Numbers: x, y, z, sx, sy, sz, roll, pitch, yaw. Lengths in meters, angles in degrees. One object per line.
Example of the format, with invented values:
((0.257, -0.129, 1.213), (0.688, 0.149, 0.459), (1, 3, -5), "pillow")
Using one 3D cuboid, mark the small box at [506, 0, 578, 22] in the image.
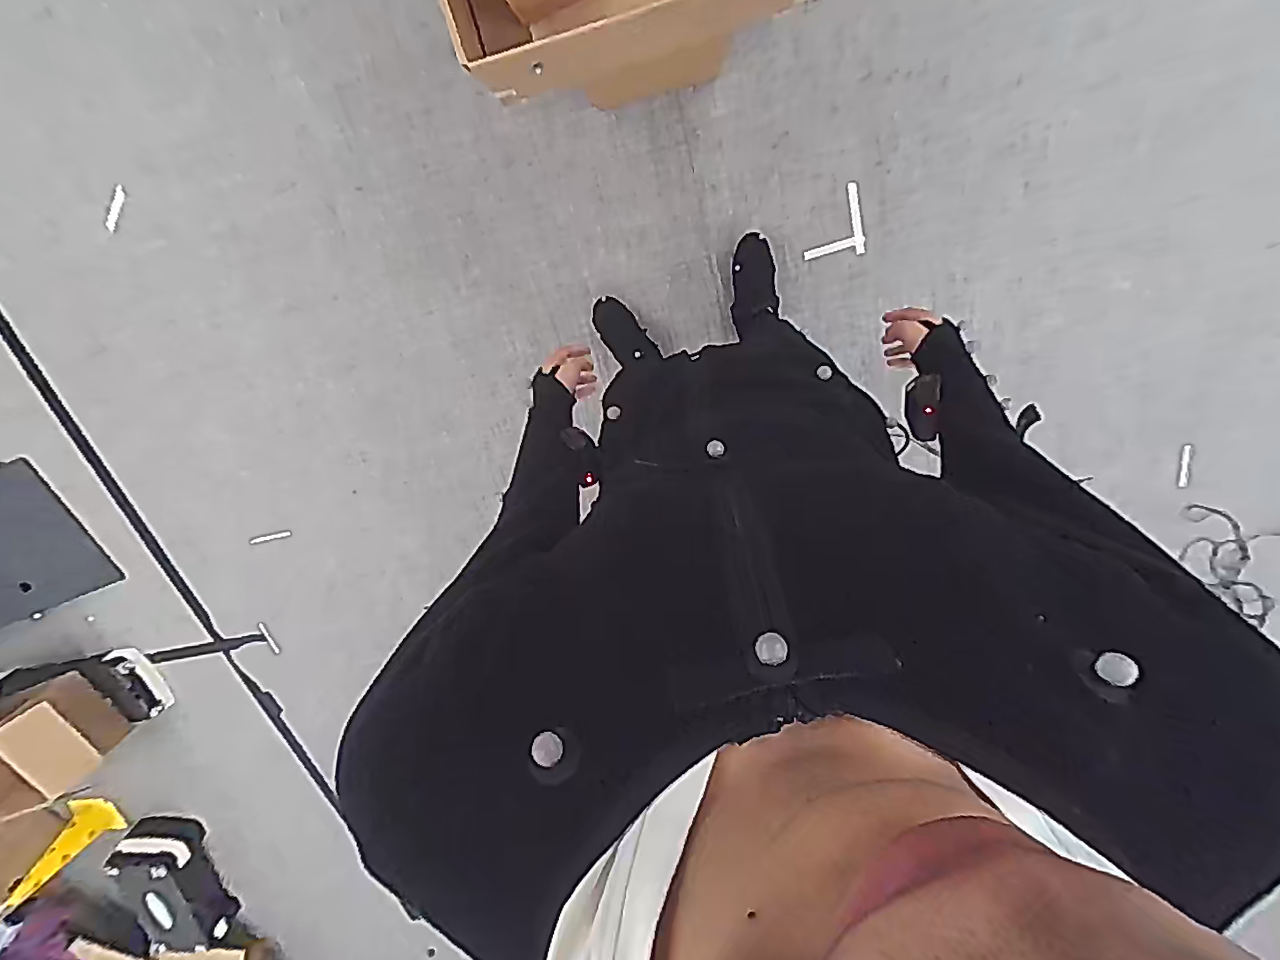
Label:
((-0.154, -0.851, 0.820), (0.179, 0.176, 0.168), (-16, 110, 11), "small box")
